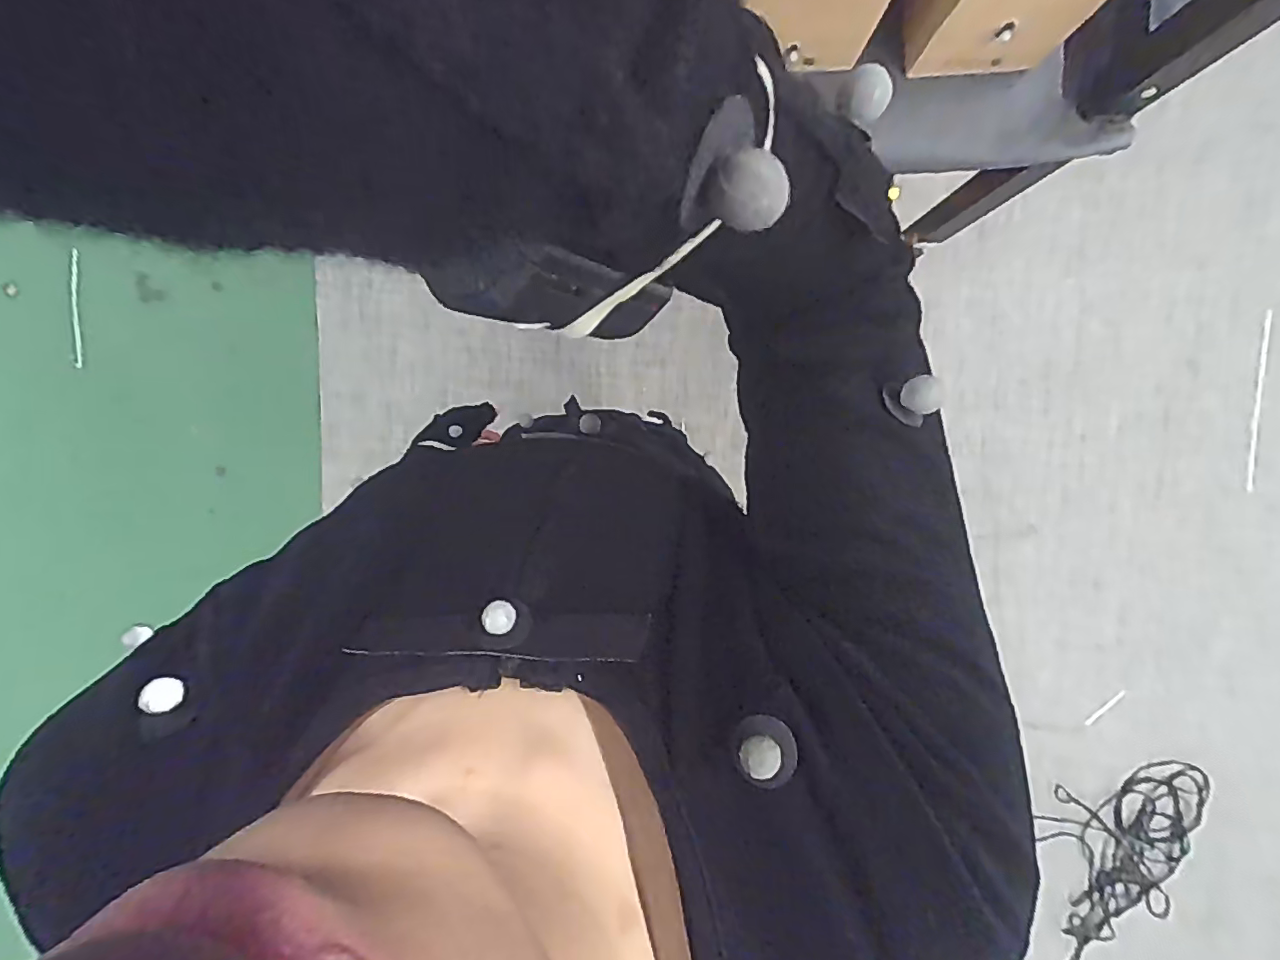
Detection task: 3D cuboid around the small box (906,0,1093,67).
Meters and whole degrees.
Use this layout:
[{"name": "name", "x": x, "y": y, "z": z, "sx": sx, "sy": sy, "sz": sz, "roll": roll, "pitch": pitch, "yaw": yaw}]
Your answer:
[{"name": "small box", "x": 0.418, "y": -0.601, "z": 0.605, "sx": 0.168, "sy": 0.176, "sz": 0.179, "roll": -3, "pitch": 95, "yaw": 1}]
